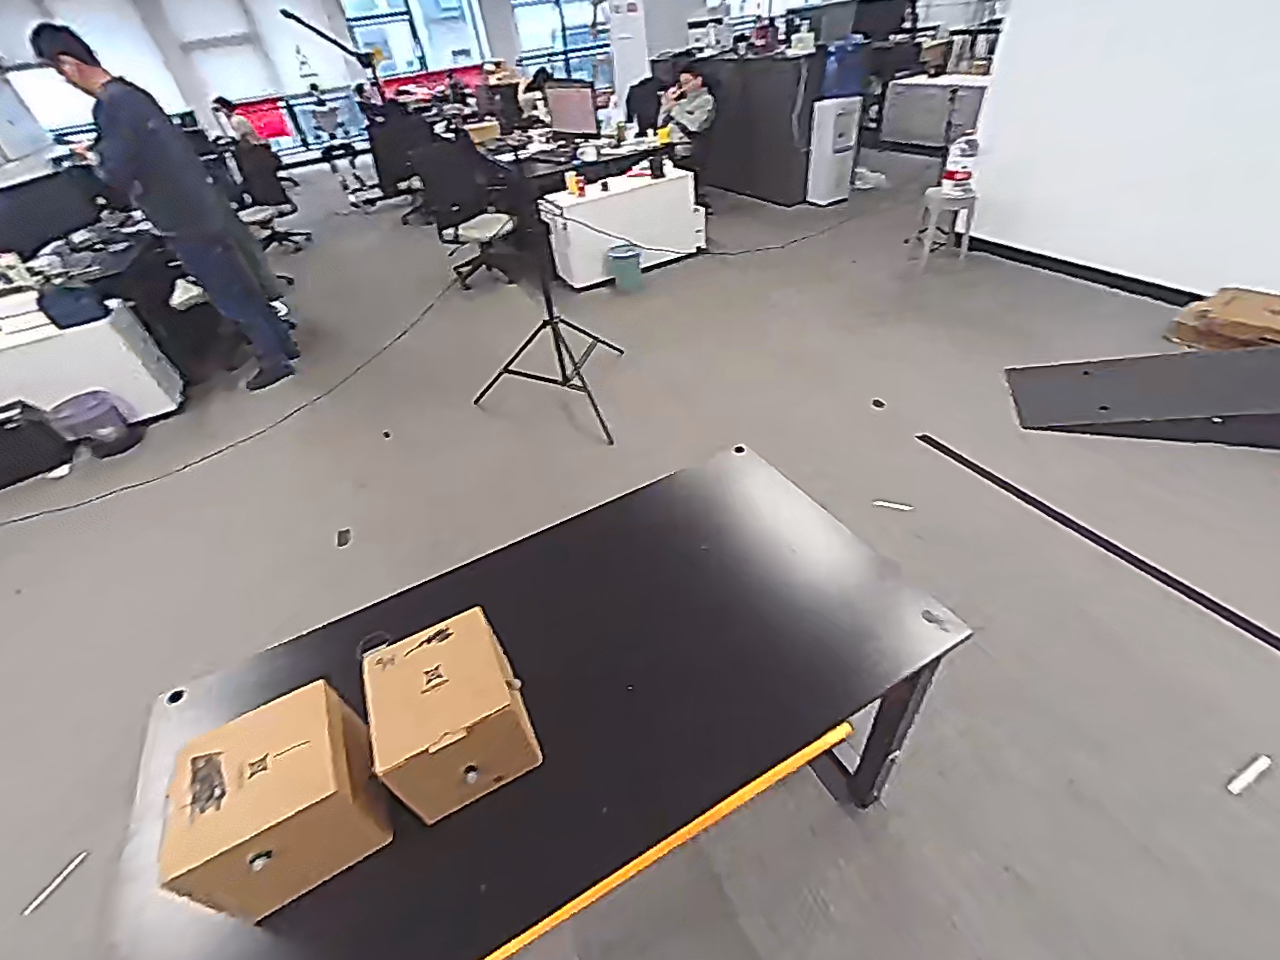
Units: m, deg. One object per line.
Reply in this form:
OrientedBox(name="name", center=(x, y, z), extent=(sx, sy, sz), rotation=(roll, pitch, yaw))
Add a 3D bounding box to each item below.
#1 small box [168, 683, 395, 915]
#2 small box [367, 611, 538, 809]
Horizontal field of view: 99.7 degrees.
OrientedBox(name="small box", center=(-0.445, 0.408, 0.695), extent=(0.179, 0.176, 0.168), rotation=(-24, 43, -19))
OrientedBox(name="small box", center=(-0.257, 0.326, 0.757), extent=(0.168, 0.176, 0.179), rotation=(-22, 43, -17))
